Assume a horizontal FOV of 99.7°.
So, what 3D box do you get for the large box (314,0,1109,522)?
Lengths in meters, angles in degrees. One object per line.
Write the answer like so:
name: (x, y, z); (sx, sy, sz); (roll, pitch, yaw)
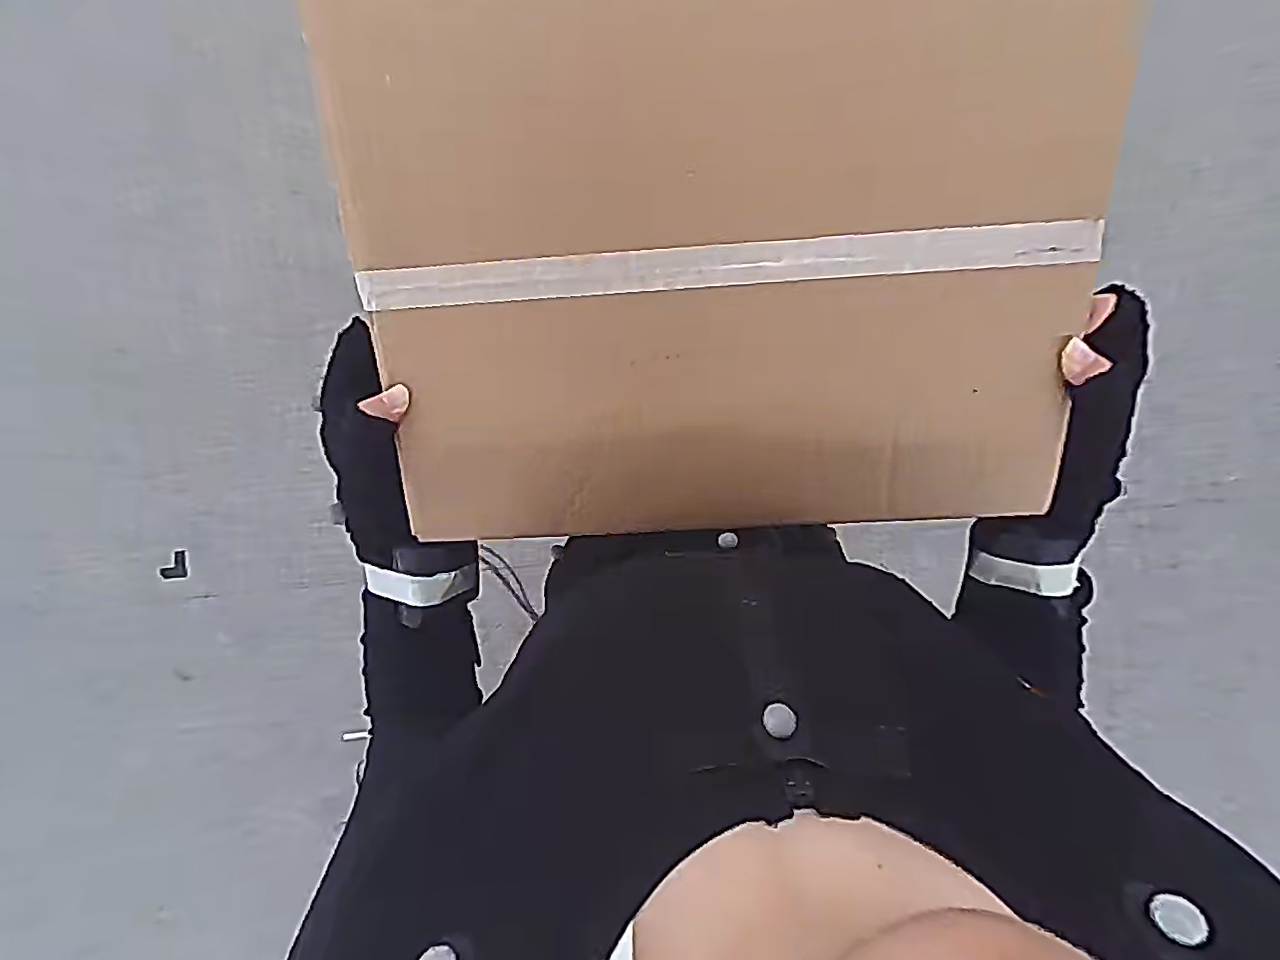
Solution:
large box: (0.043, -0.175, 0.449); (0.408, 0.320, 0.320); (-3, 110, 2)
